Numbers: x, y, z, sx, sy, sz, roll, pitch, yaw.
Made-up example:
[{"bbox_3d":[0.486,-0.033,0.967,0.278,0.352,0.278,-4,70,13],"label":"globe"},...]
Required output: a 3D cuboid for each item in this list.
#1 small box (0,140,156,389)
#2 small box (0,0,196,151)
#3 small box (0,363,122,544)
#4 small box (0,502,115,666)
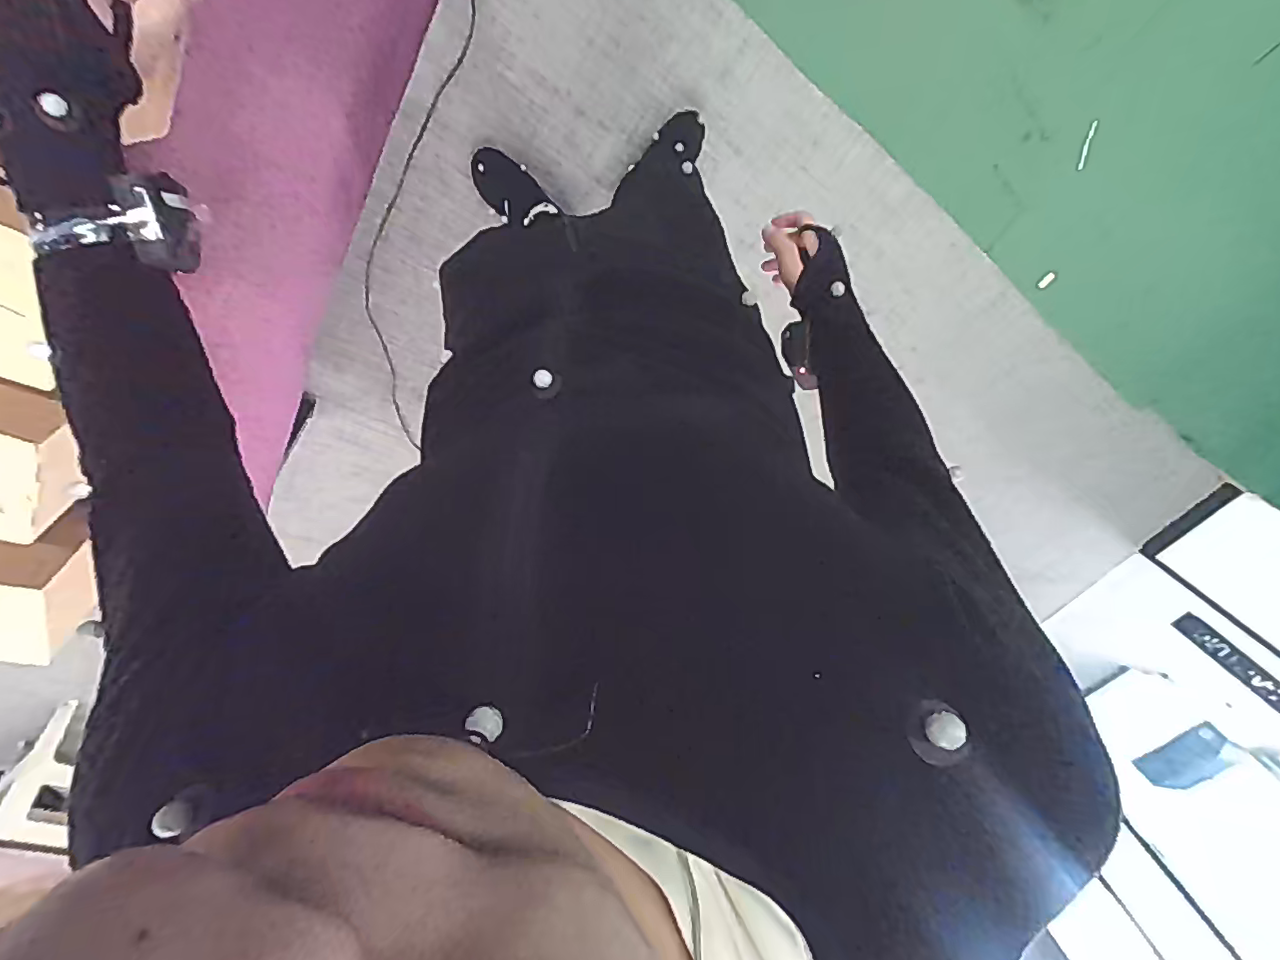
[{"bbox_3d":[-0.650,-0.228,0.546,0.179,0.176,0.168,24,118,-29],"label":"small box"},{"bbox_3d":[-0.519,-0.407,0.441,0.179,0.176,0.168,25,118,-27],"label":"small box"},{"bbox_3d":[-0.781,-0.058,0.642,0.179,0.176,0.168,23,118,-28],"label":"small box"},{"bbox_3d":[-0.897,0.131,0.758,0.179,0.176,0.168,18,121,-25],"label":"small box"}]
